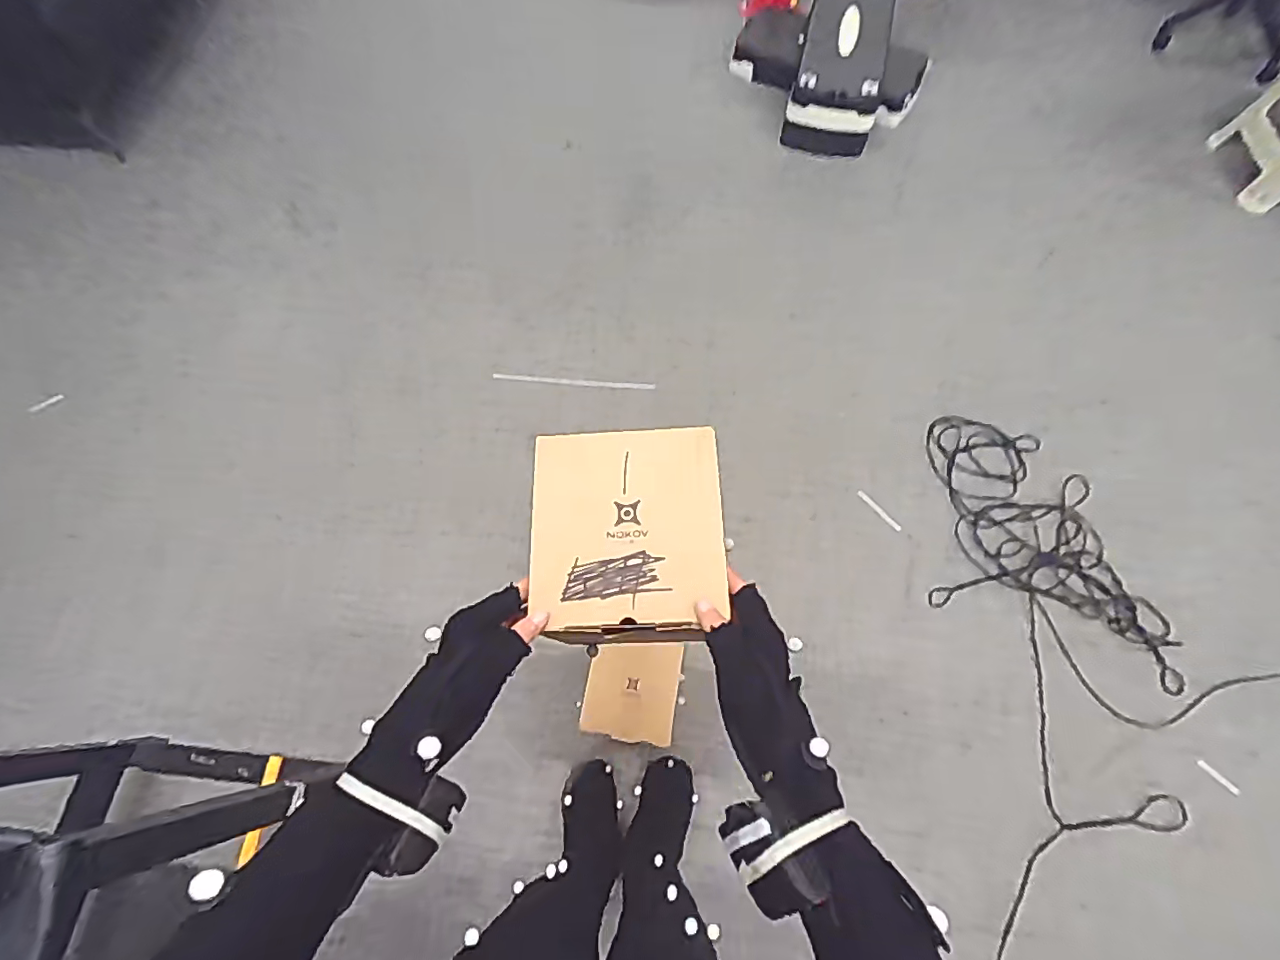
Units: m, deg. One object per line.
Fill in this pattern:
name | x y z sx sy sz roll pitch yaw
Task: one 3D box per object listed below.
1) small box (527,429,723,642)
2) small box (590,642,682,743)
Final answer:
small box | -0.007 0.067 0.539 0.168 0.176 0.179 -4 68 4
small box | -0.006 0.468 1.205 0.168 0.176 0.179 10 70 6
